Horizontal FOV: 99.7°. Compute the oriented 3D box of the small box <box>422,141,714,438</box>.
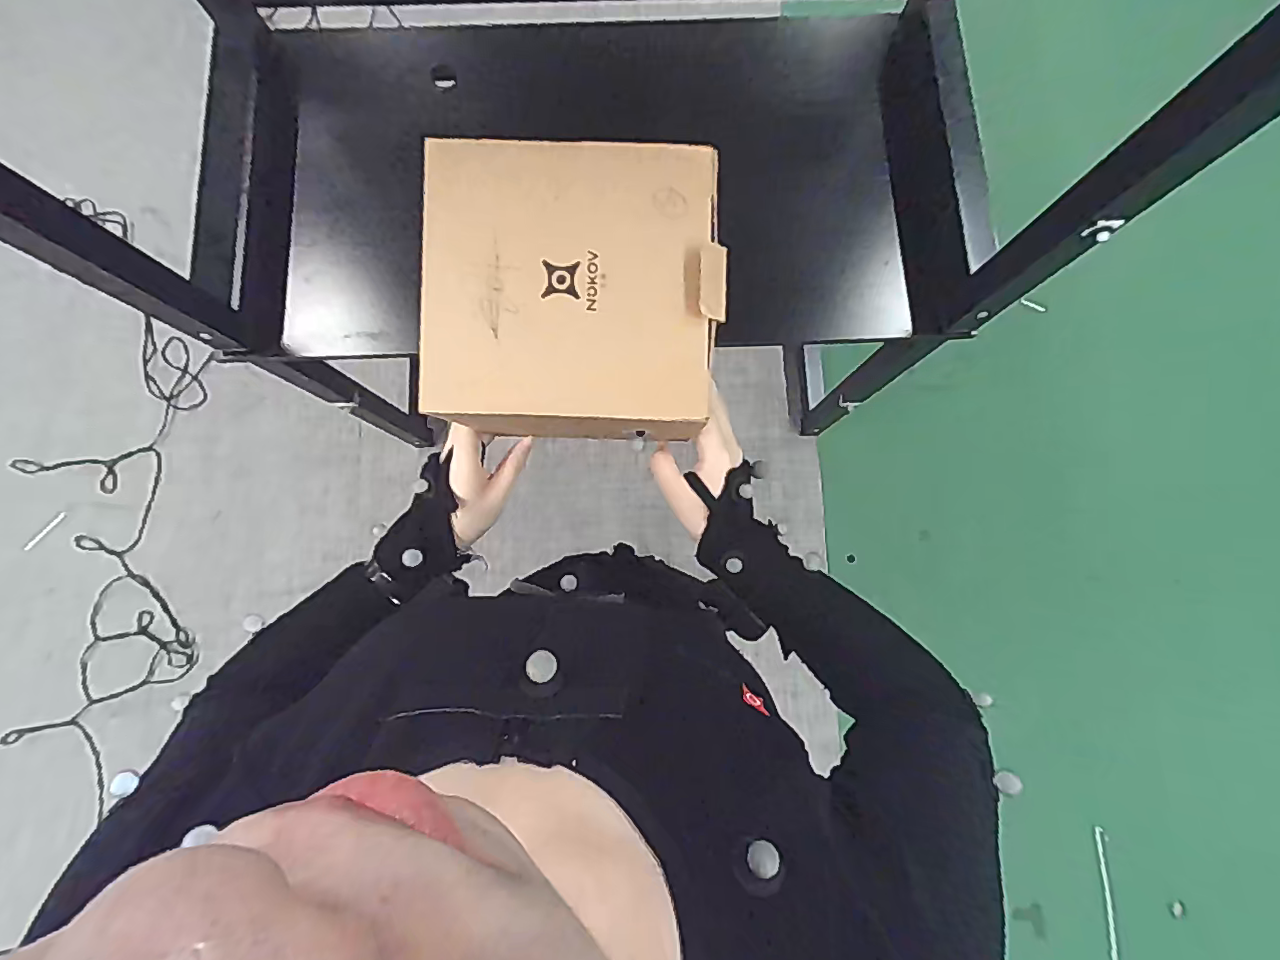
[{"bbox_3d":[-0.043,-0.121,0.405,0.179,0.176,0.168,1,90,2],"label":"small box"}]
